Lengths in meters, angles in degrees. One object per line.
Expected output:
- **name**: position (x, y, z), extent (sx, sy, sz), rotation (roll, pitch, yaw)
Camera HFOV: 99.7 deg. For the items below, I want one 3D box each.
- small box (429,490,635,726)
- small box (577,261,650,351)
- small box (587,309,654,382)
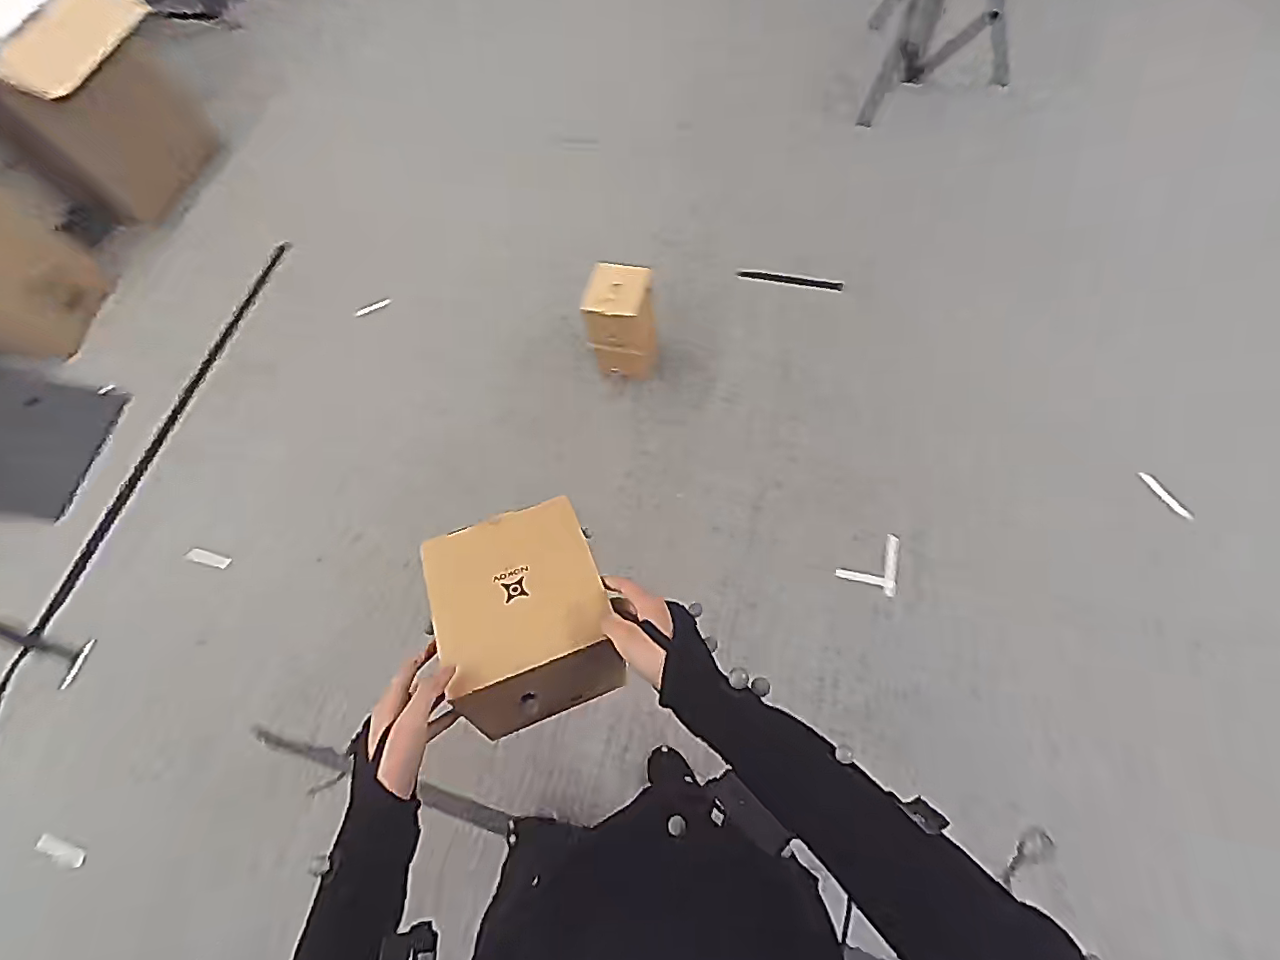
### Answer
- **small box**: position (-0.109, 0.146, 0.585), extent (0.168, 0.176, 0.179), rotation (-18, 54, -12)
- **small box**: position (-0.070, -0.513, 1.602), extent (0.168, 0.176, 0.179), rotation (12, 71, 12)
- **small box**: position (-0.056, -0.445, 1.751), extent (0.168, 0.176, 0.179), rotation (12, 70, 12)
